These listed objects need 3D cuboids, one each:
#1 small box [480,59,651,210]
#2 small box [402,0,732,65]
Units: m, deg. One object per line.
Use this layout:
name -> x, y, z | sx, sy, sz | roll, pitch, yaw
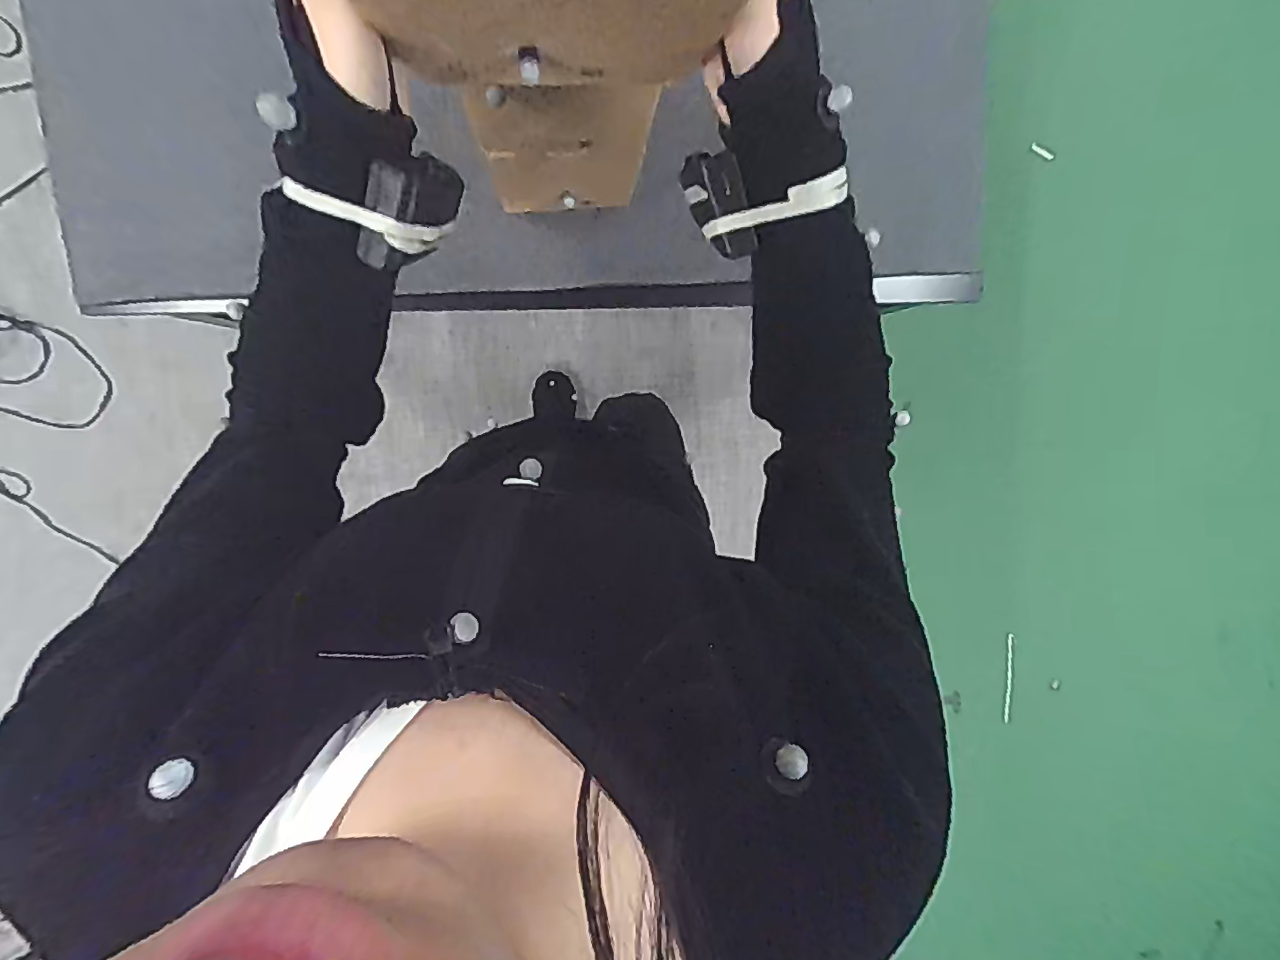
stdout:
small box -> -0.087, -0.429, 0.609 | 0.168, 0.176, 0.179 | -6, 98, -6
small box -> -0.037, -0.300, 0.218 | 0.168, 0.176, 0.179 | -5, 115, -6
